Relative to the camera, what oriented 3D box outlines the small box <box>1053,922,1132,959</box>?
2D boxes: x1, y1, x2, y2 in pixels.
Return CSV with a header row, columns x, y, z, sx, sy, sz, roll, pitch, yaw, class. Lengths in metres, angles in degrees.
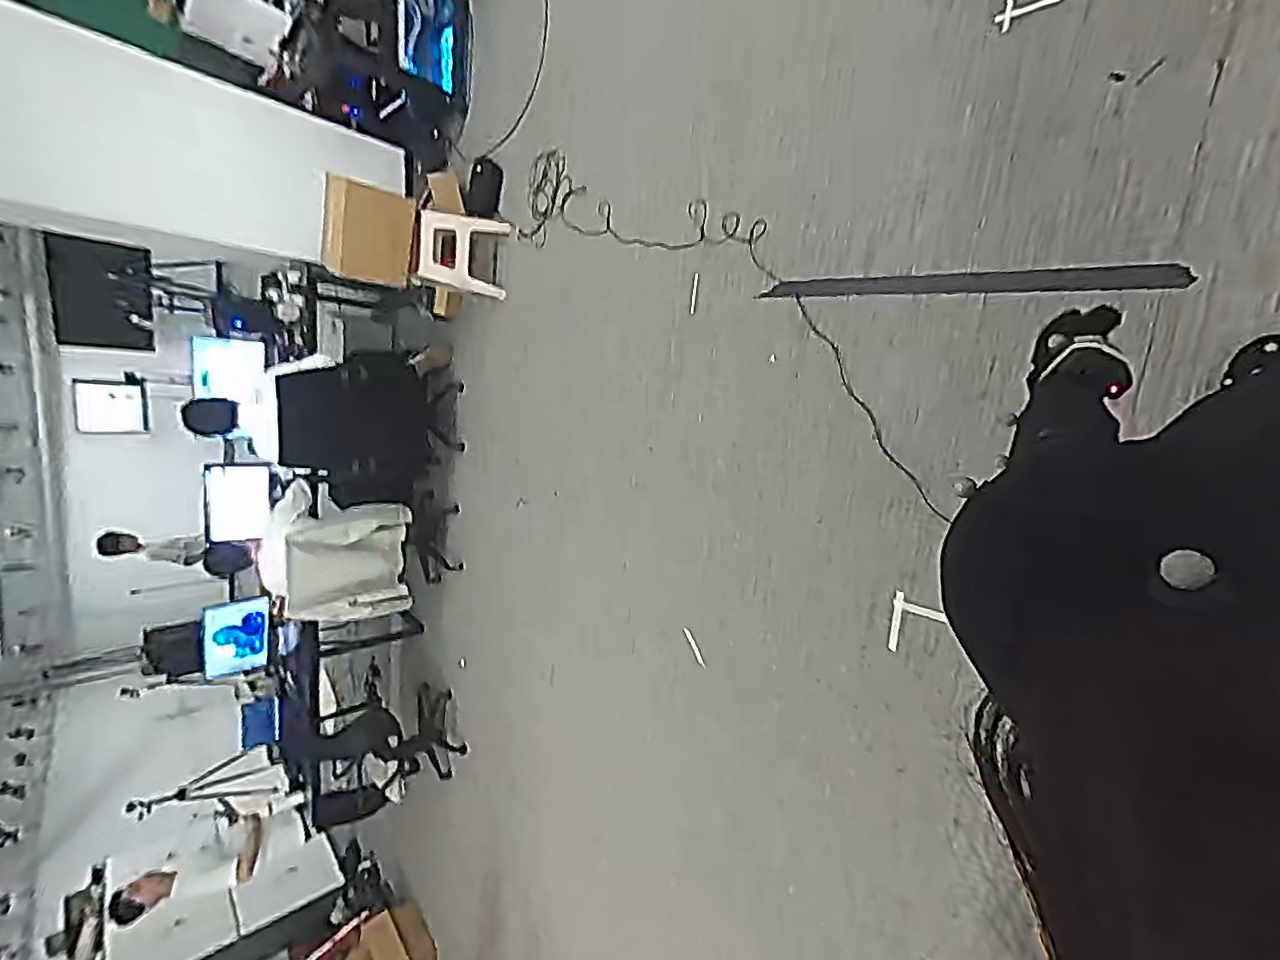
x,y,z,sx,sy,sz,roll,pitch,yaw,class
1.006,1.149,1.189,0.168,0.176,0.179,18,106,44,small box
